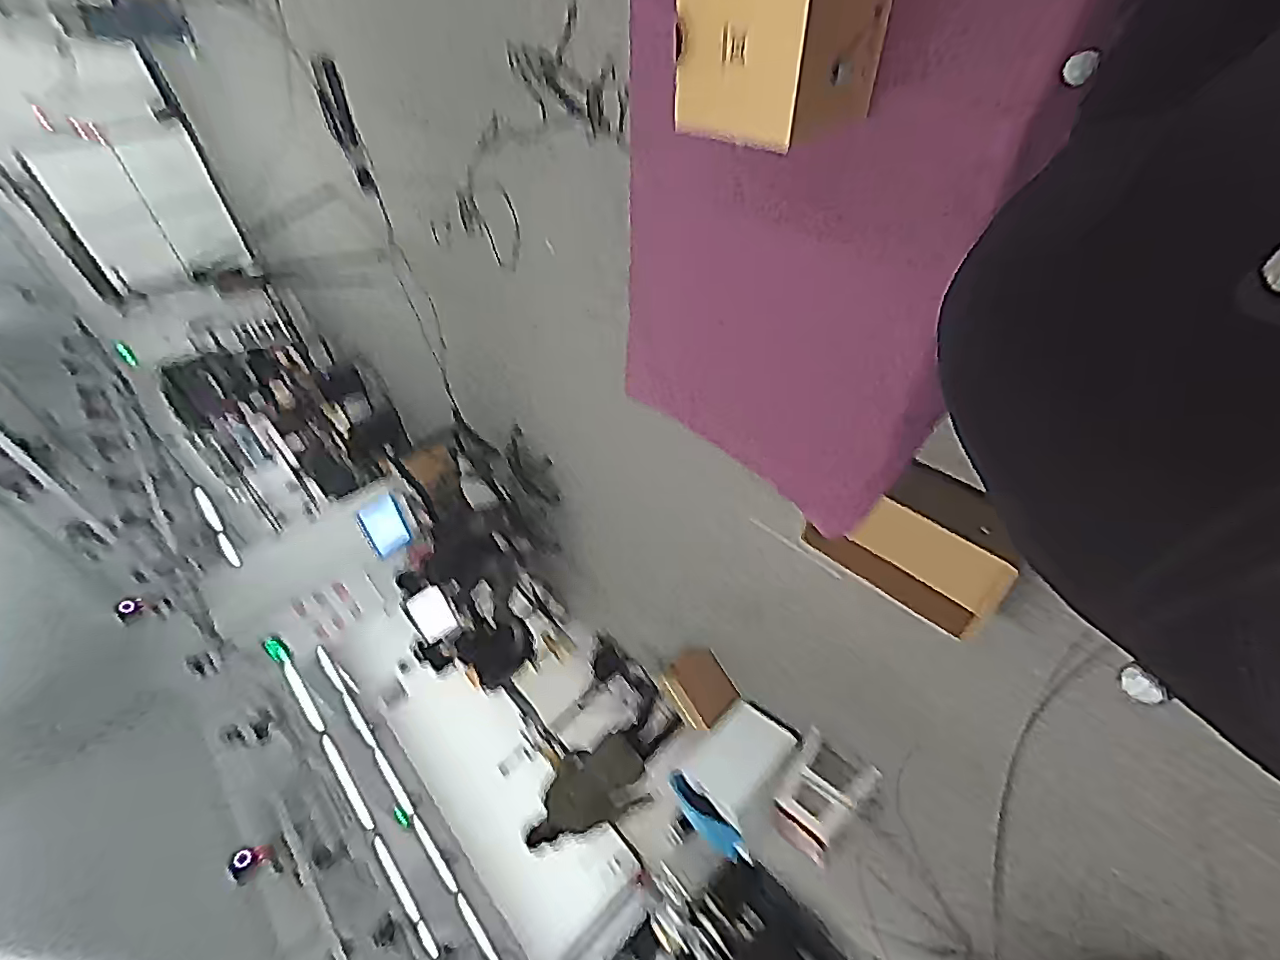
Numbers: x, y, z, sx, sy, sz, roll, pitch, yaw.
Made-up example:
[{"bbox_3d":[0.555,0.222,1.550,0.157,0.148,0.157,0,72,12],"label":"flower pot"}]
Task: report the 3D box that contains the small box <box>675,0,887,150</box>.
[{"bbox_3d":[0.159,-0.501,0.619,0.179,0.176,0.168,35,145,33],"label":"small box"}]
